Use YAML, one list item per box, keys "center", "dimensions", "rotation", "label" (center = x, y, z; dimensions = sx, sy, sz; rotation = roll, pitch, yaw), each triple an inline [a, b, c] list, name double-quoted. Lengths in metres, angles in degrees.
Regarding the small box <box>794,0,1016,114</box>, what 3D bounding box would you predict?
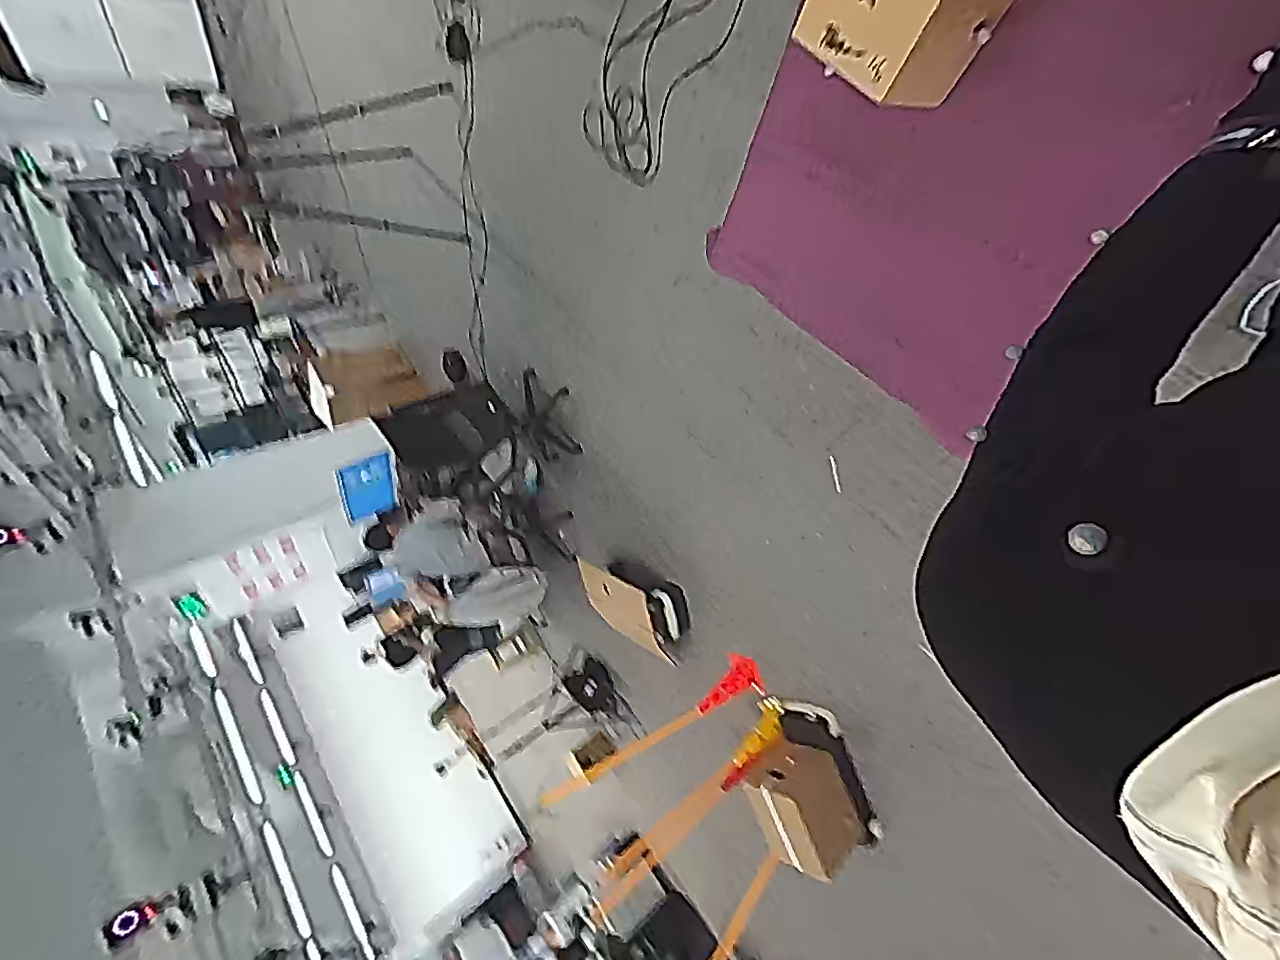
- center: [0.336, -0.589, 0.668]
  dimensions: [0.168, 0.176, 0.179]
  rotation: [53, 144, 17]
  label: "small box"
